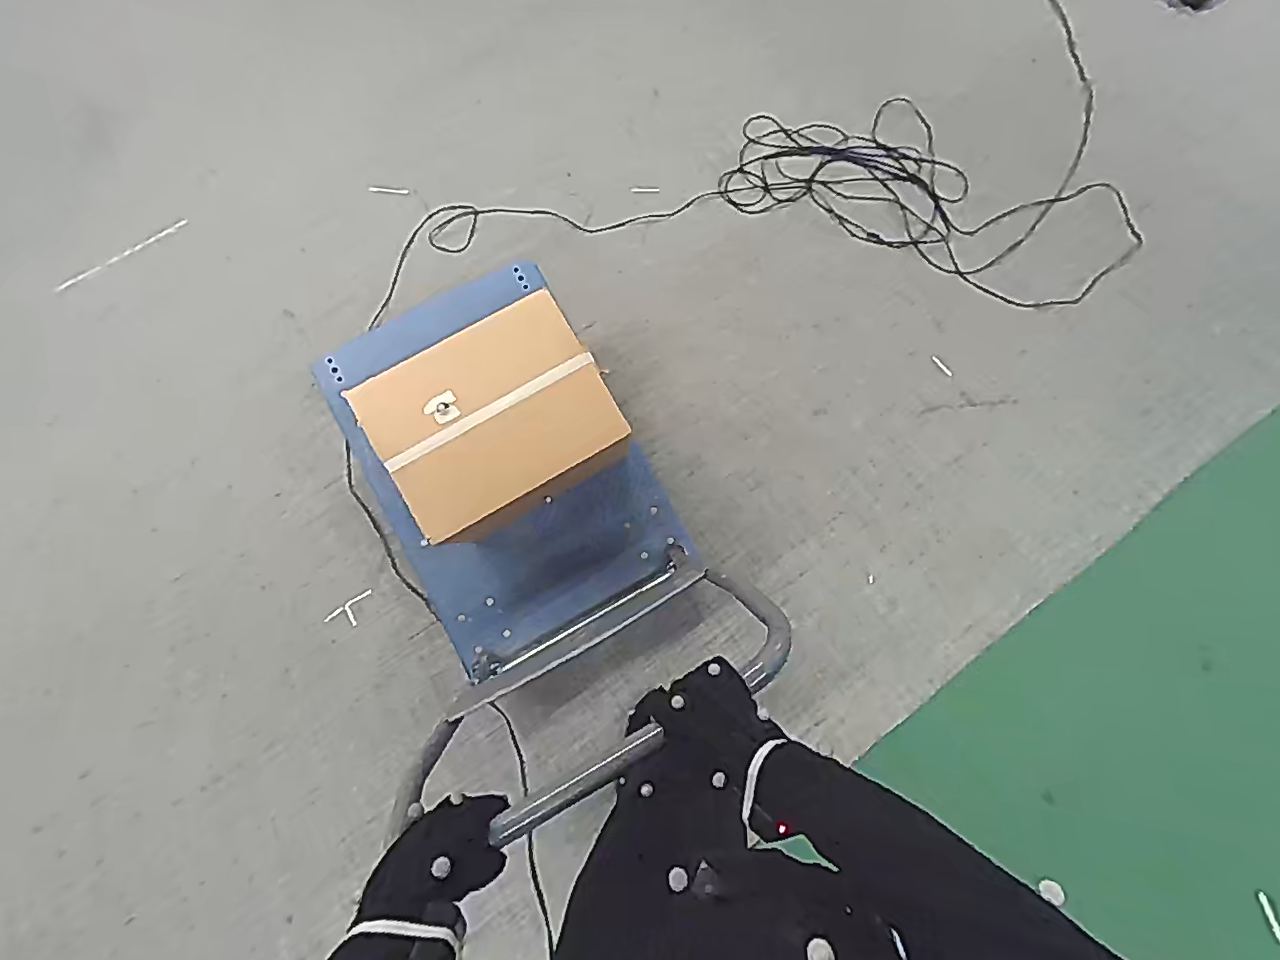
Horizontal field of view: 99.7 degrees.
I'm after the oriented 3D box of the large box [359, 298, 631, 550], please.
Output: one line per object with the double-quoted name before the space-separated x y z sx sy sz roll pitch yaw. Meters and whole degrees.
"large box" -0.267 -0.095 1.124 0.408 0.320 0.320 -31 86 -5
